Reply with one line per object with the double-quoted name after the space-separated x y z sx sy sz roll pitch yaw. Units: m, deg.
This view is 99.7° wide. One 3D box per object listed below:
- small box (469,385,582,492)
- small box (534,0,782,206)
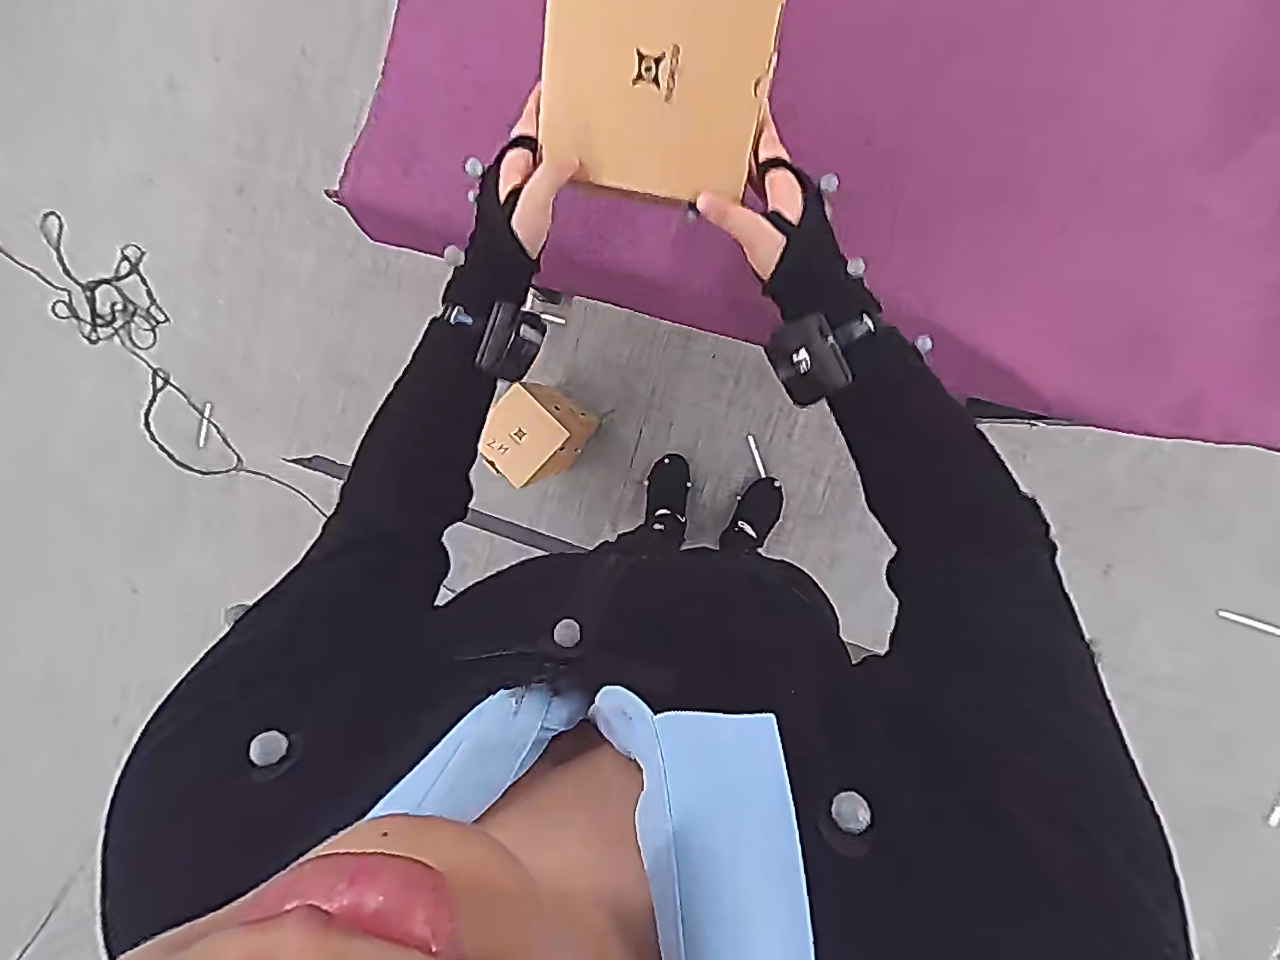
-0.252 -0.100 1.249 0.168 0.176 0.179 45 101 0 "small box"
0.019 -0.352 0.483 0.179 0.176 0.168 10 114 2 "small box"
